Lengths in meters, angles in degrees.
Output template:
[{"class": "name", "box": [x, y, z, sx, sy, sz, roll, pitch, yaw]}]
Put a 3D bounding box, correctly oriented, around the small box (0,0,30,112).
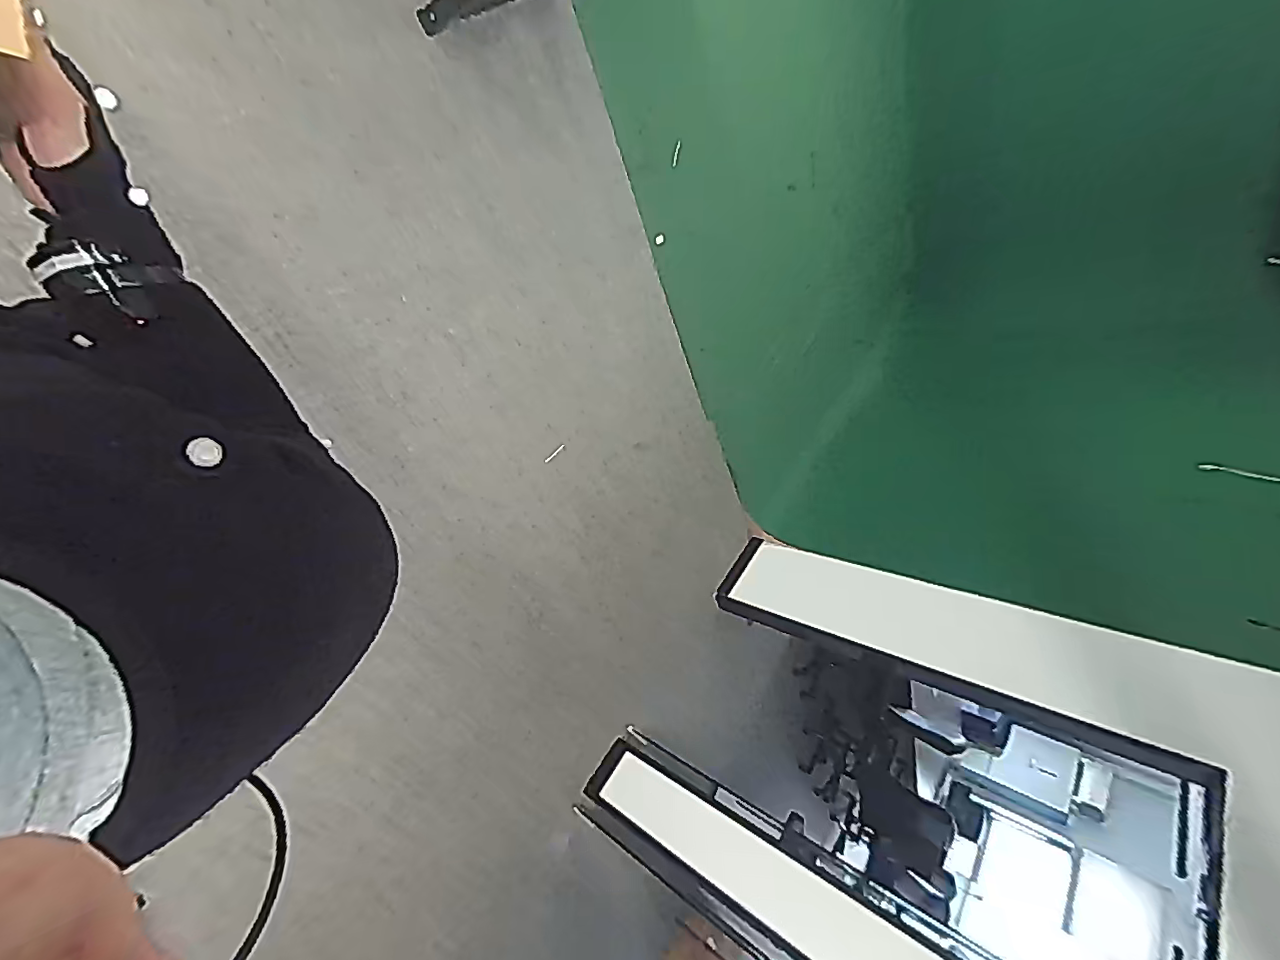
[{"class": "small box", "box": [-0.412, -0.290, 0.235, 0.179, 0.176, 0.168, -12, 110, -50]}]
